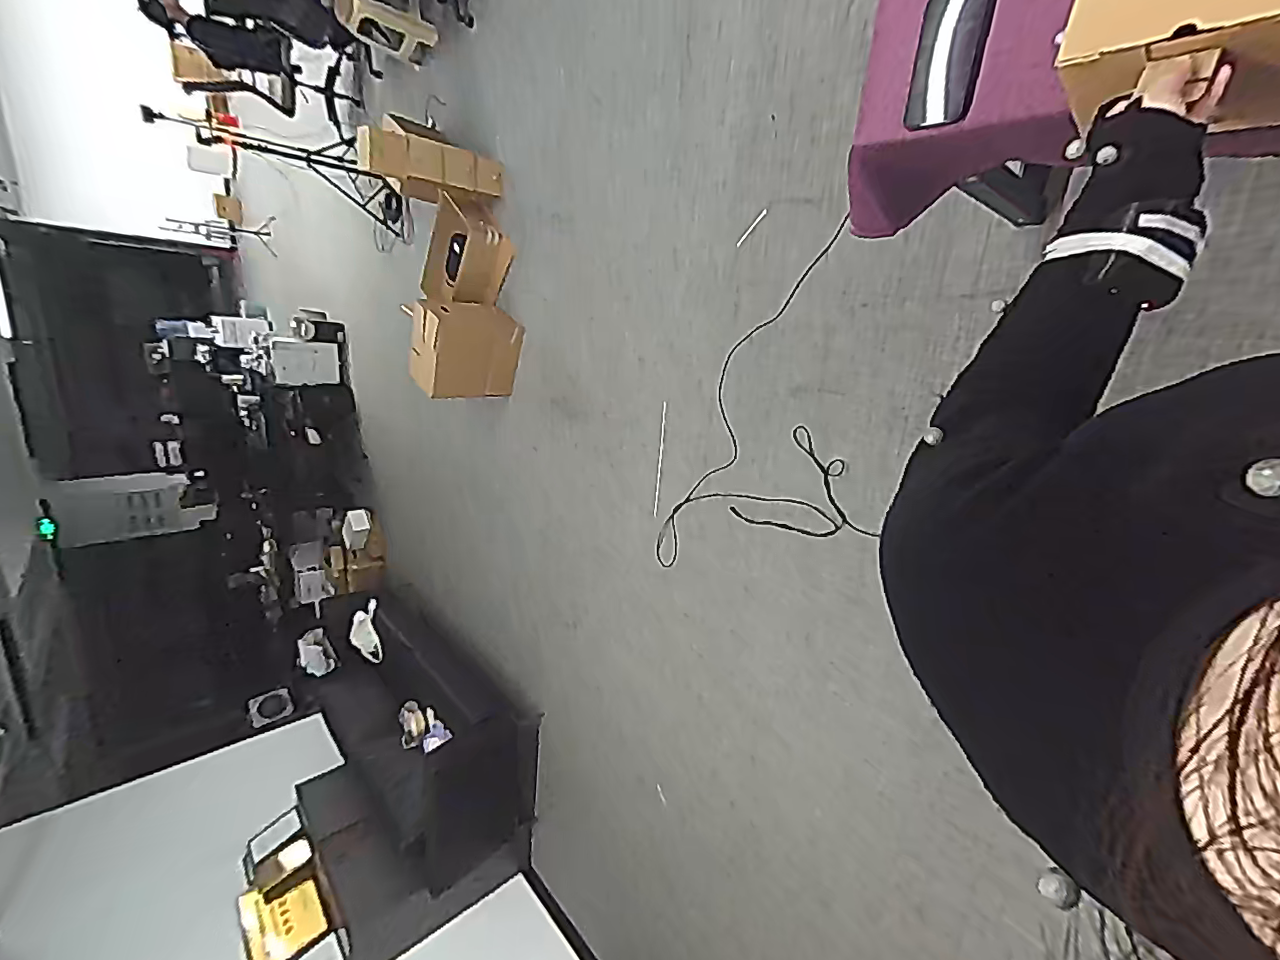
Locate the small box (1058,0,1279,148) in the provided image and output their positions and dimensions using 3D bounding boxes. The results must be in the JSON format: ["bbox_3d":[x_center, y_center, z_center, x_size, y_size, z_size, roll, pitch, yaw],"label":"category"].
[{"bbox_3d":[0.494,-0.420,0.461,0.168,0.176,0.179,23,106,42],"label":"small box"}]
